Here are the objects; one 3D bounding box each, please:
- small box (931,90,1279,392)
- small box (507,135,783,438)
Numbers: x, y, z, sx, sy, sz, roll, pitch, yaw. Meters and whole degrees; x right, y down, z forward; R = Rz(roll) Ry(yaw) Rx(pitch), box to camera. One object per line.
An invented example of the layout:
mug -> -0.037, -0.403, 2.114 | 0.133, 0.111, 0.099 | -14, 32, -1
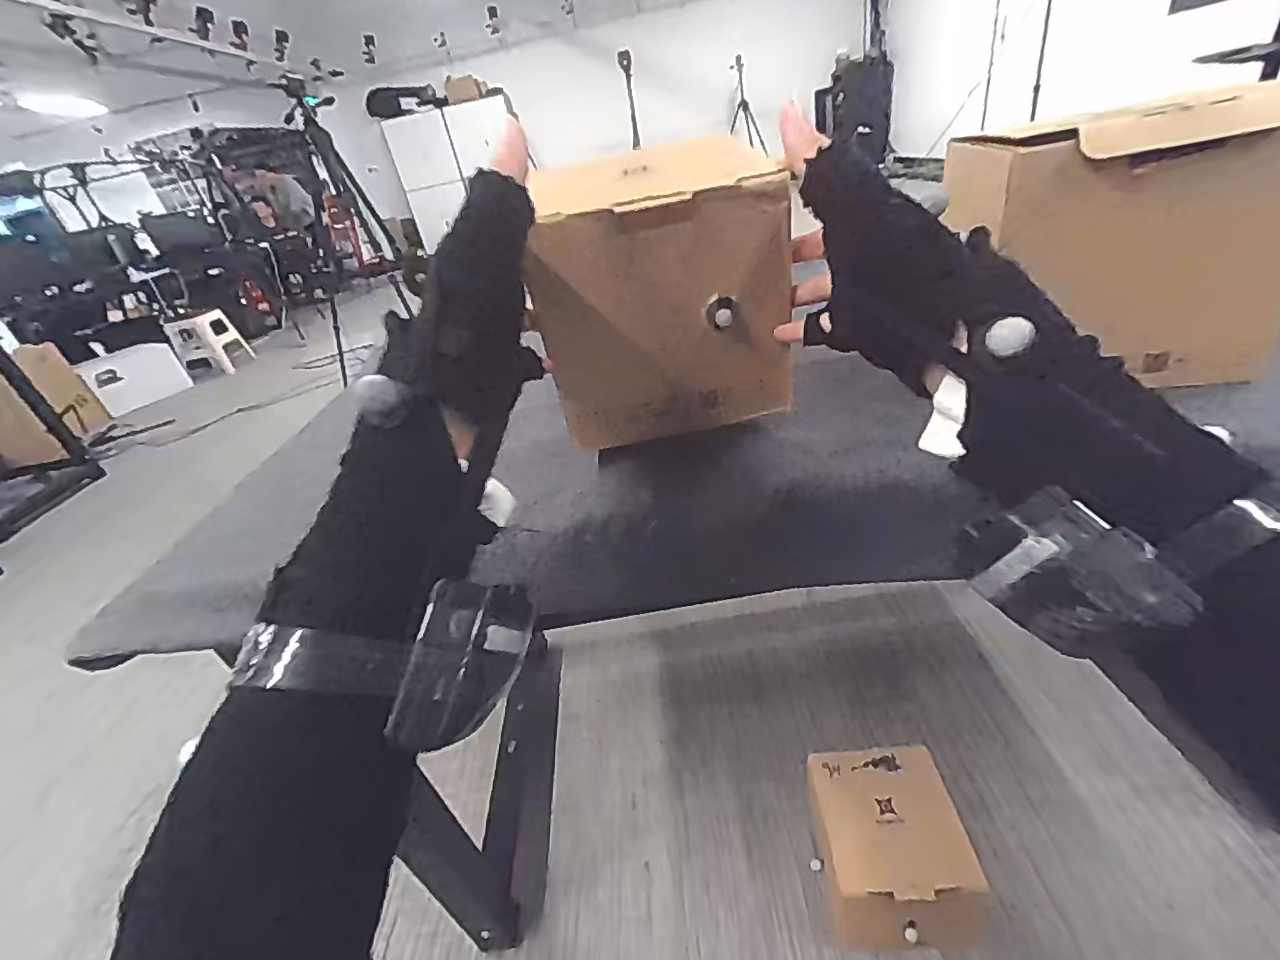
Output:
small box -> 0.332, -0.173, 0.411 | 0.168, 0.176, 0.179 | -2, 32, 17
small box -> 0.009, -0.145, 0.420 | 0.168, 0.176, 0.179 | -10, 38, 1
